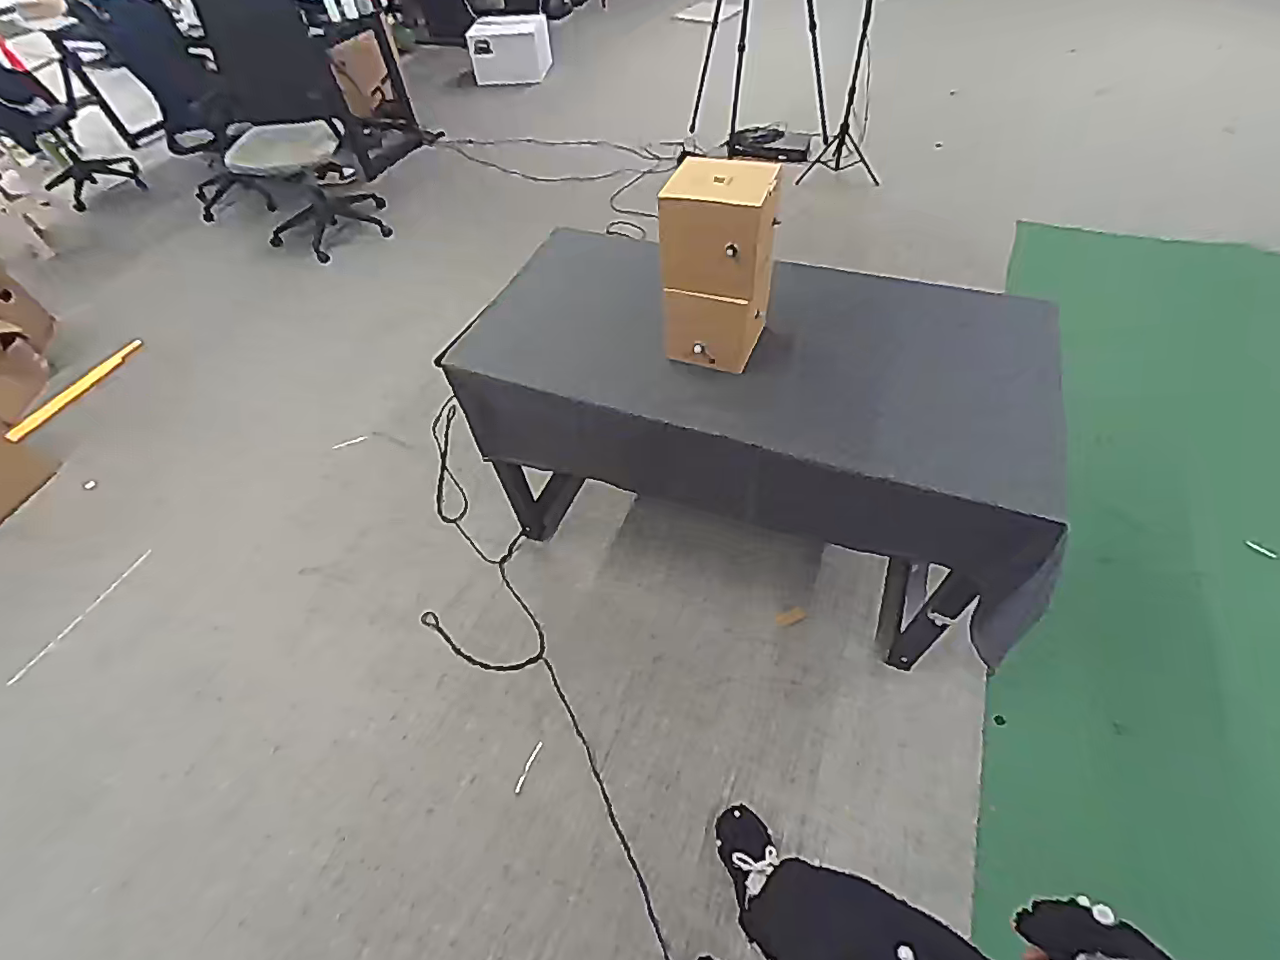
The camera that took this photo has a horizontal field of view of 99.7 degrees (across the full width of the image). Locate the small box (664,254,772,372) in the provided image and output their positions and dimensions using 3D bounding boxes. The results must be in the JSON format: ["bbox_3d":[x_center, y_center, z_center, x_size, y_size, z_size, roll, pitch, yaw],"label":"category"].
[{"bbox_3d":[0.155,-0.350,1.096,0.168,0.176,0.179,17,56,18],"label":"small box"}]

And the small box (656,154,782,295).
[{"bbox_3d":[0.141,-0.455,0.971,0.179,0.176,0.168,15,54,17],"label":"small box"}]
